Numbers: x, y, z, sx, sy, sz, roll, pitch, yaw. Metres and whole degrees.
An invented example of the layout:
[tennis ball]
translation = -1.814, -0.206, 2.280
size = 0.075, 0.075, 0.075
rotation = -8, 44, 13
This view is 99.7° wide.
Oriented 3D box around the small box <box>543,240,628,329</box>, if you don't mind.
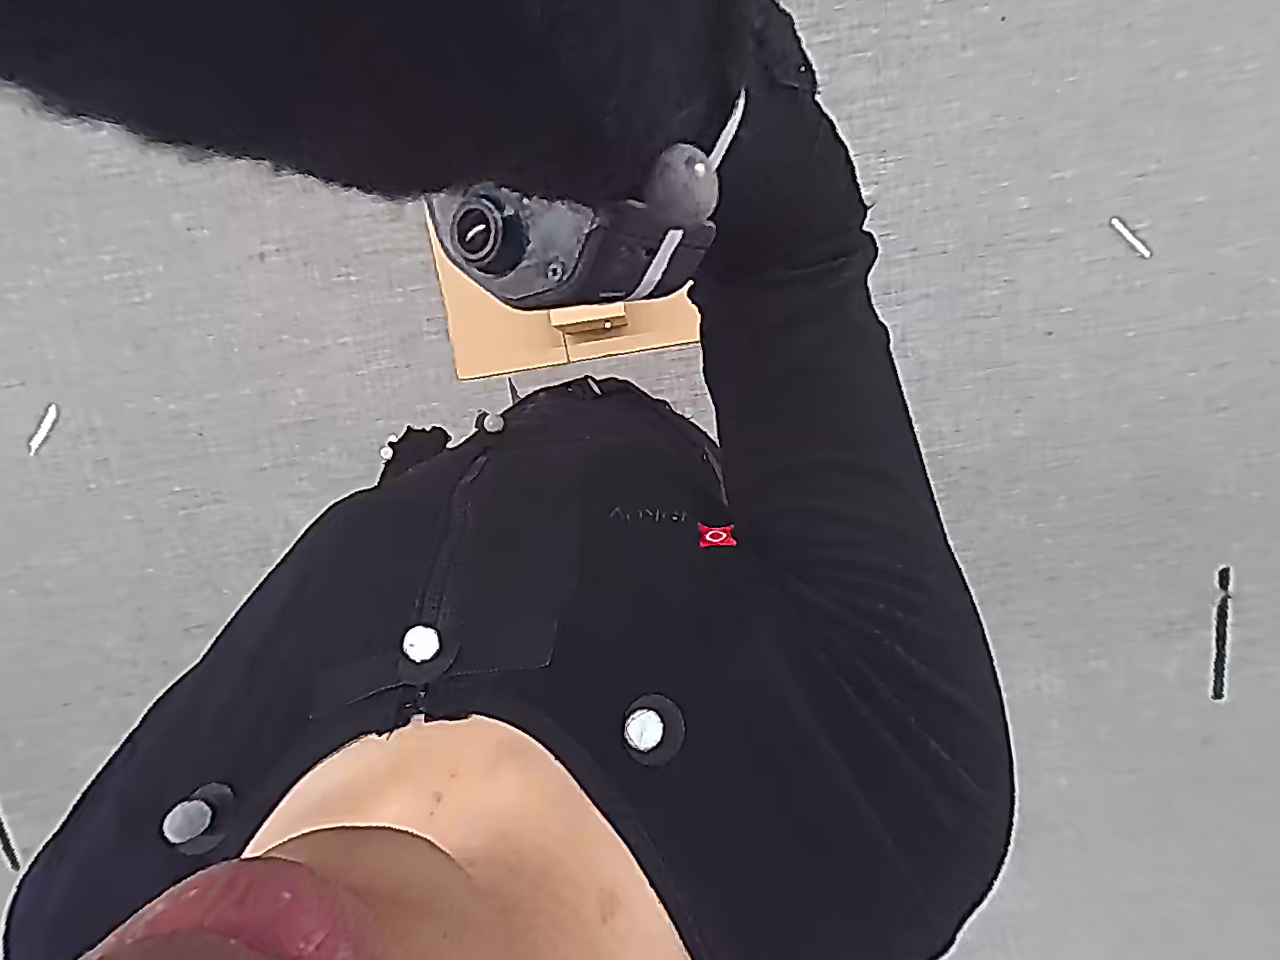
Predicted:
[small box]
translation = -0.123, -0.469, 1.315
size = 0.179, 0.176, 0.168
rotation = -7, 99, 4
